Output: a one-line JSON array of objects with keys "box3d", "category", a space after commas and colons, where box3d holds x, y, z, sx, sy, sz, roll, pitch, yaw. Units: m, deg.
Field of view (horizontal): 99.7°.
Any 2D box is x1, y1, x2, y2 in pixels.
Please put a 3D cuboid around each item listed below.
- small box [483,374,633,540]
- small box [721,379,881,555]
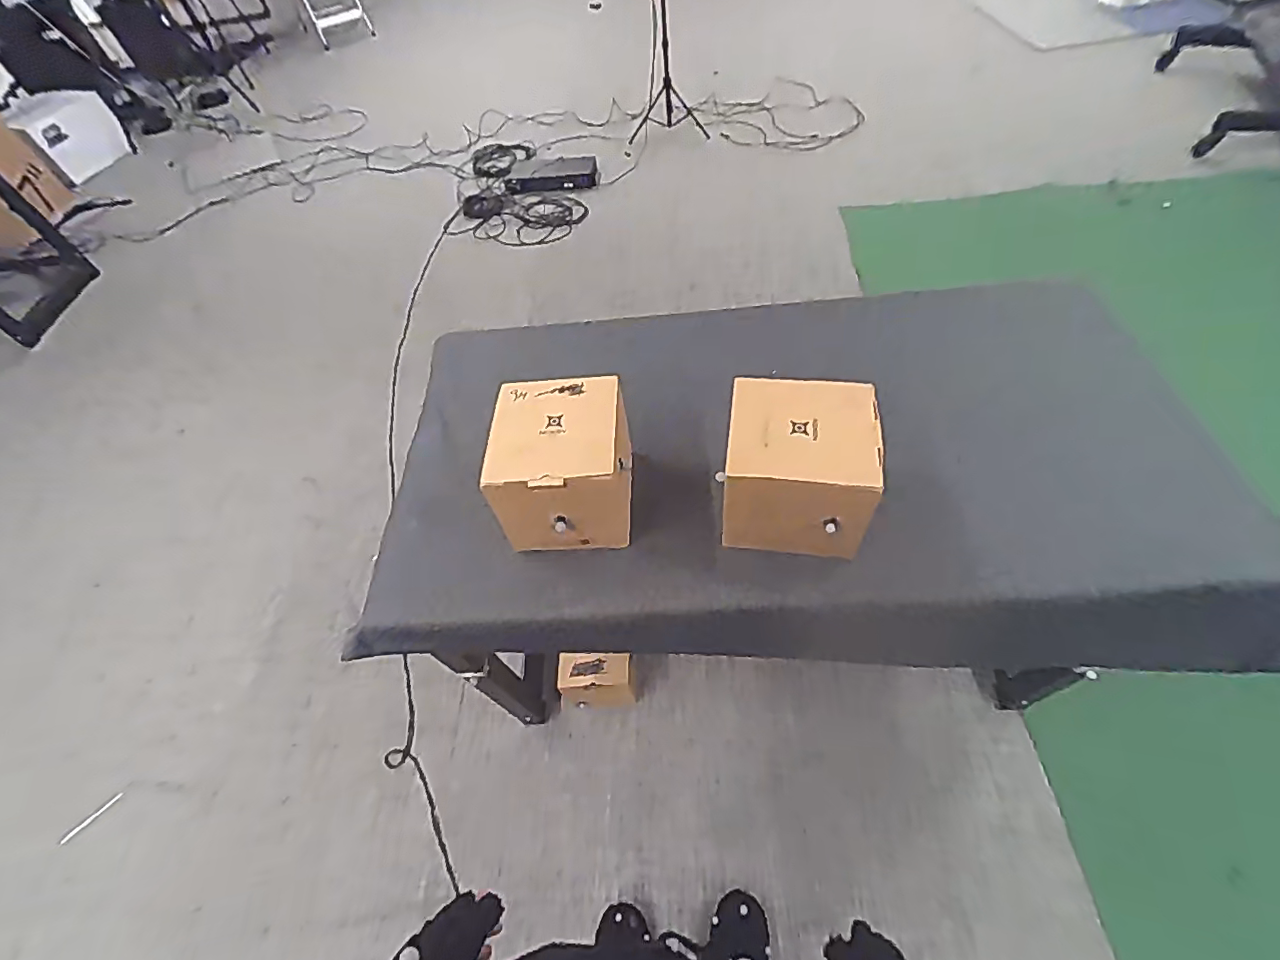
[{"box3d": [-0.101, -0.025, 0.762, 0.168, 0.176, 0.179, -2, 55, 5], "category": "small box"}, {"box3d": [0.205, -0.013, 0.722, 0.179, 0.176, 0.168, 5, 55, 11], "category": "small box"}]
